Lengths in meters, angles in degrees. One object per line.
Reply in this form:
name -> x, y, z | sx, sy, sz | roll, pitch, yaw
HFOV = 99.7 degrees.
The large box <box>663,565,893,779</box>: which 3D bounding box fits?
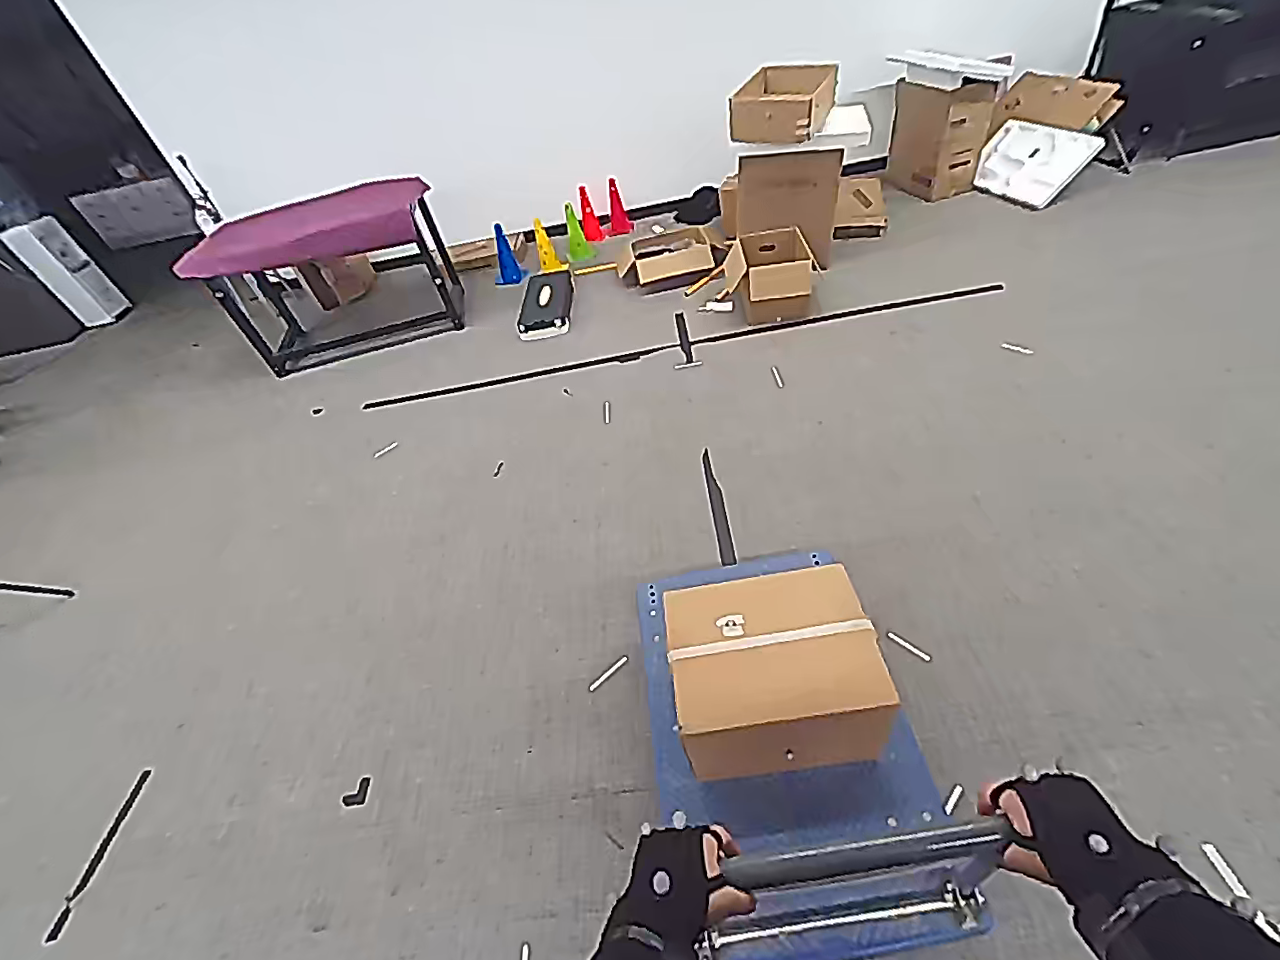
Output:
large box -> 0.288, 0.435, 1.212 | 0.408, 0.320, 0.320 | -11, 44, 5
